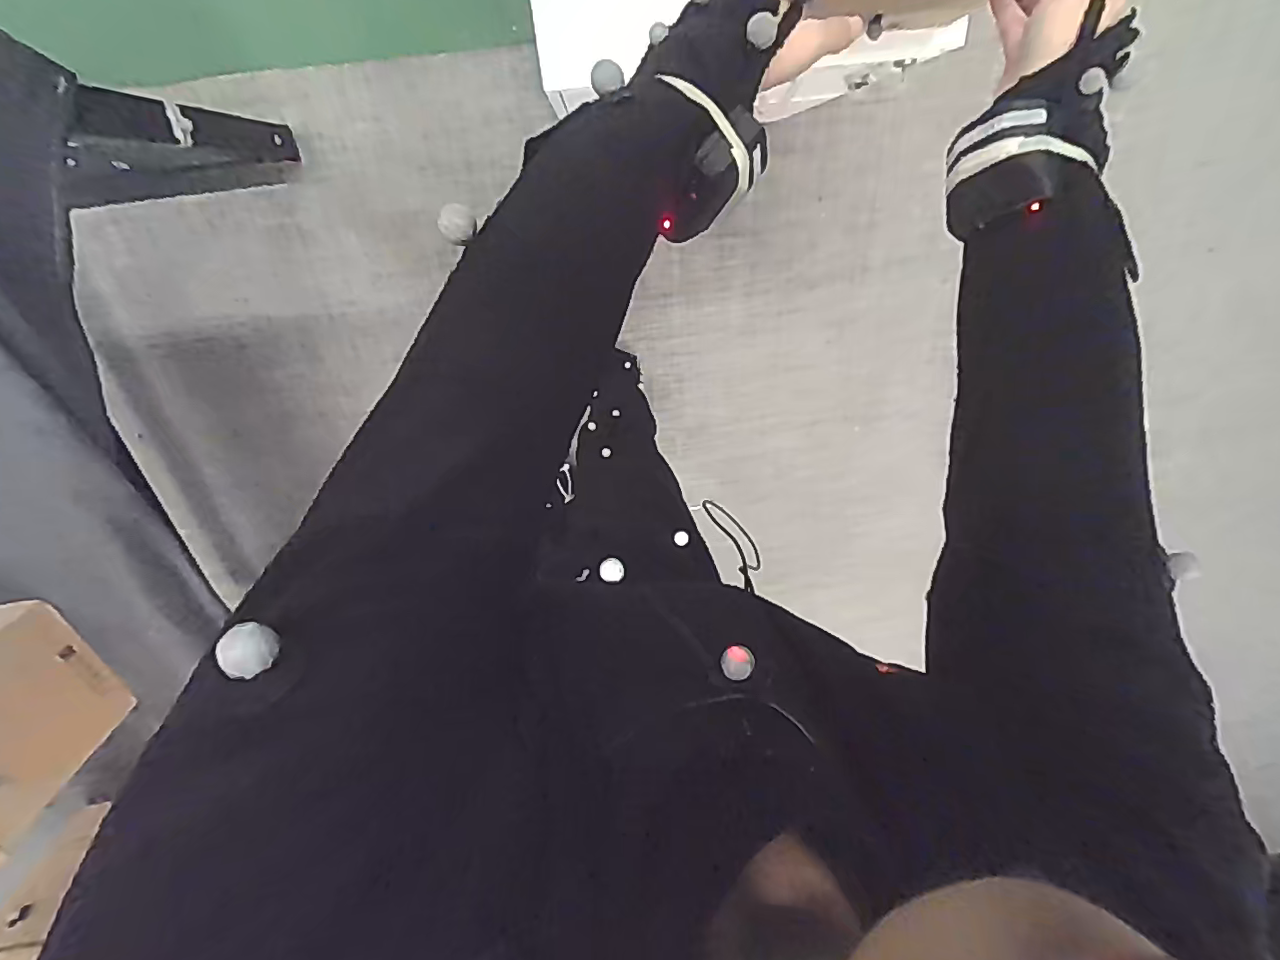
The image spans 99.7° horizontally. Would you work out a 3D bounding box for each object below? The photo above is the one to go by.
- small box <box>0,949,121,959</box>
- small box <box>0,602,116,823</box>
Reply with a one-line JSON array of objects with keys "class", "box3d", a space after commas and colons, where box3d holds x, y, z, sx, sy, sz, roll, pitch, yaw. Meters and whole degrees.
[{"class": "small box", "box3d": [-0.623, 0.599, 0.528, 0.179, 0.176, 0.168, -12, 117, 3]}, {"class": "small box", "box3d": [-0.687, 0.241, 0.517, 0.179, 0.176, 0.168, -10, 119, 1]}]
